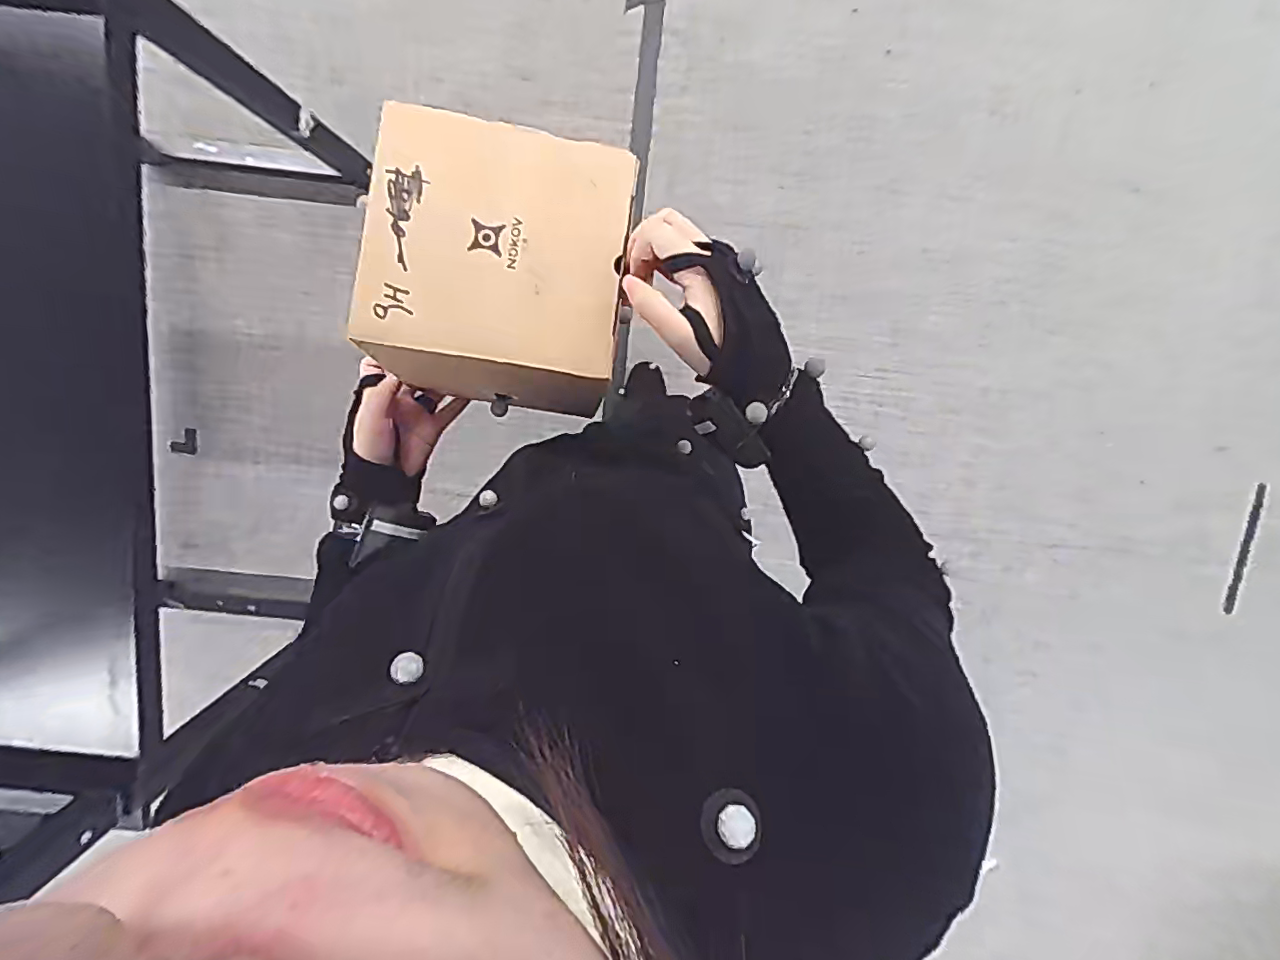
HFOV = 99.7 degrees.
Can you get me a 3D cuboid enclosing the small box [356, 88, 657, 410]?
[{"bbox_3d":[-0.098,-0.158,0.437,0.179,0.176,0.168,9,86,-10],"label":"small box"}]
